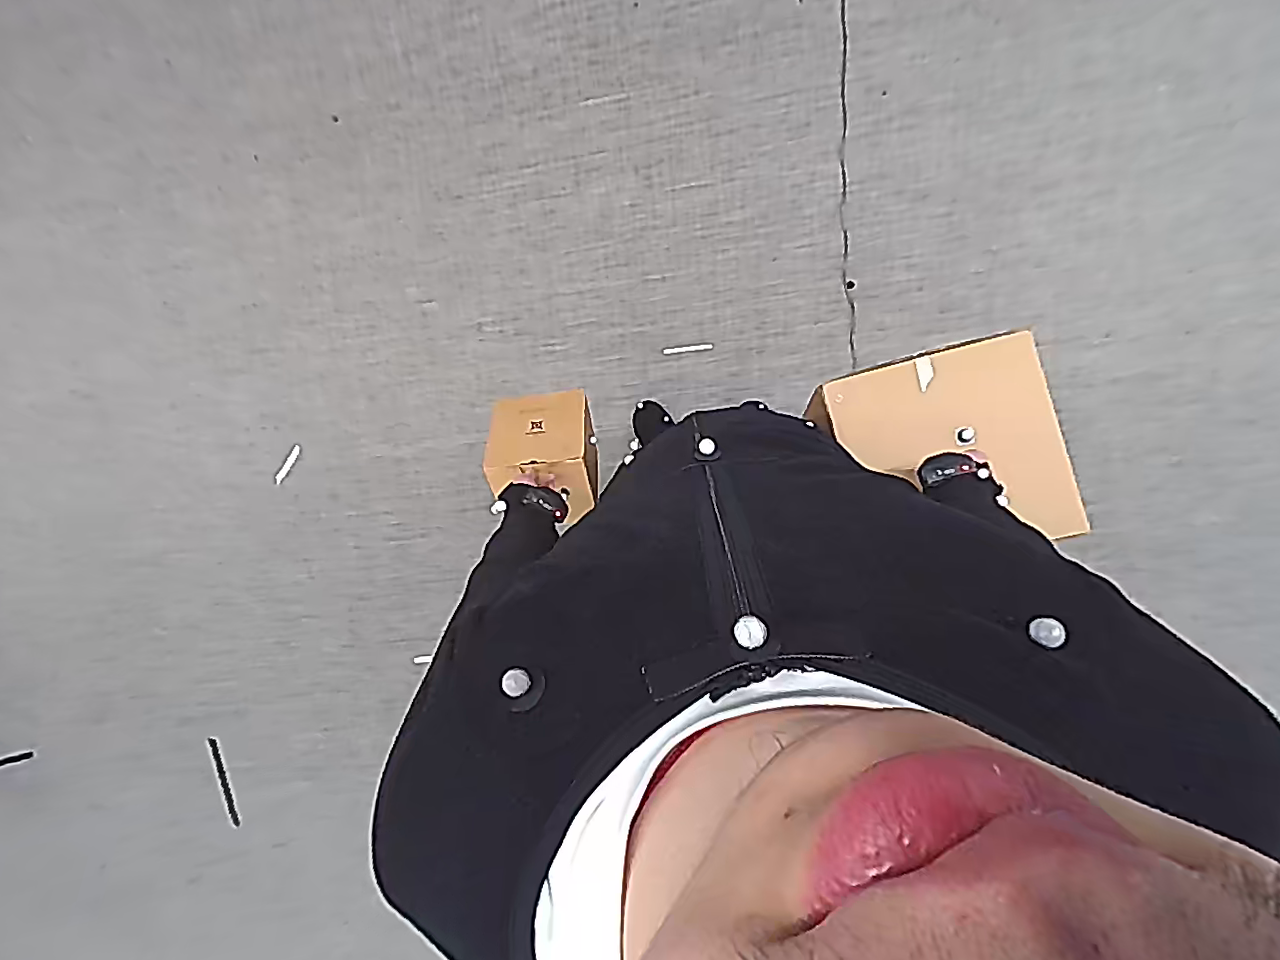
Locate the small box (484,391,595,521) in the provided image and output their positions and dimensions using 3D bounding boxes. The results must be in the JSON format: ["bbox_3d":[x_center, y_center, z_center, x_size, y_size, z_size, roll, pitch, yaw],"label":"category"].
[{"bbox_3d":[-0.173,-0.038,0.988,0.168,0.179,0.176,-5,138,0],"label":"small box"}]
